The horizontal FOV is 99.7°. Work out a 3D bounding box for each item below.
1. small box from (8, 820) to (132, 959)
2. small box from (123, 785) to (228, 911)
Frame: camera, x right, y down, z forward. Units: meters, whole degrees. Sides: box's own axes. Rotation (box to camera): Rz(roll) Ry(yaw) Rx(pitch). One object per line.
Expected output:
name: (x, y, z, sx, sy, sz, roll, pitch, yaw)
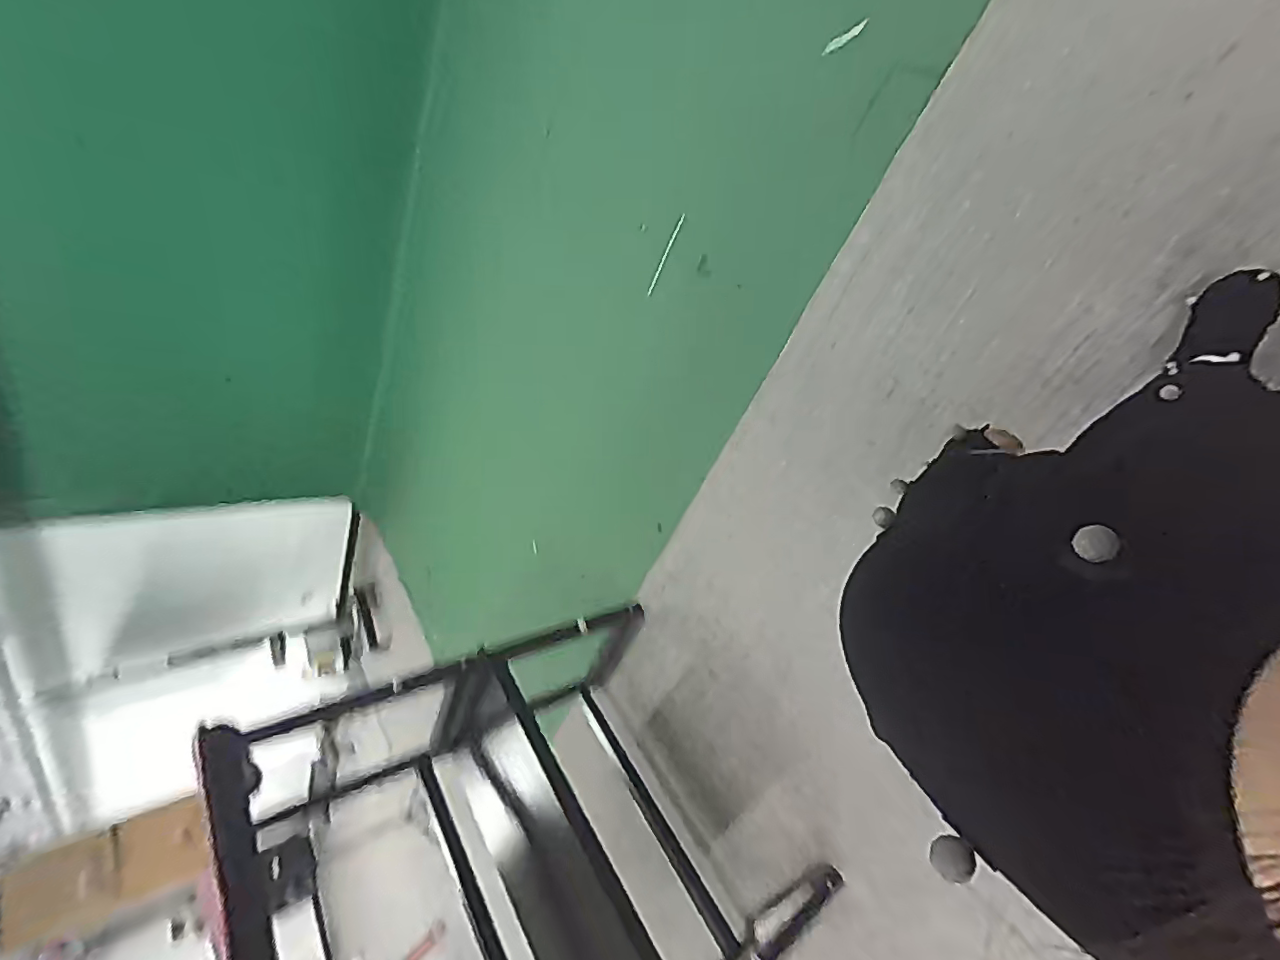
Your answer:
small box: (-1.181, 0.851, 1.132, 0.179, 0.176, 0.168, -48, 63, 37)
small box: (-1.068, 0.842, 1.247, 0.179, 0.176, 0.168, -52, 59, 36)
